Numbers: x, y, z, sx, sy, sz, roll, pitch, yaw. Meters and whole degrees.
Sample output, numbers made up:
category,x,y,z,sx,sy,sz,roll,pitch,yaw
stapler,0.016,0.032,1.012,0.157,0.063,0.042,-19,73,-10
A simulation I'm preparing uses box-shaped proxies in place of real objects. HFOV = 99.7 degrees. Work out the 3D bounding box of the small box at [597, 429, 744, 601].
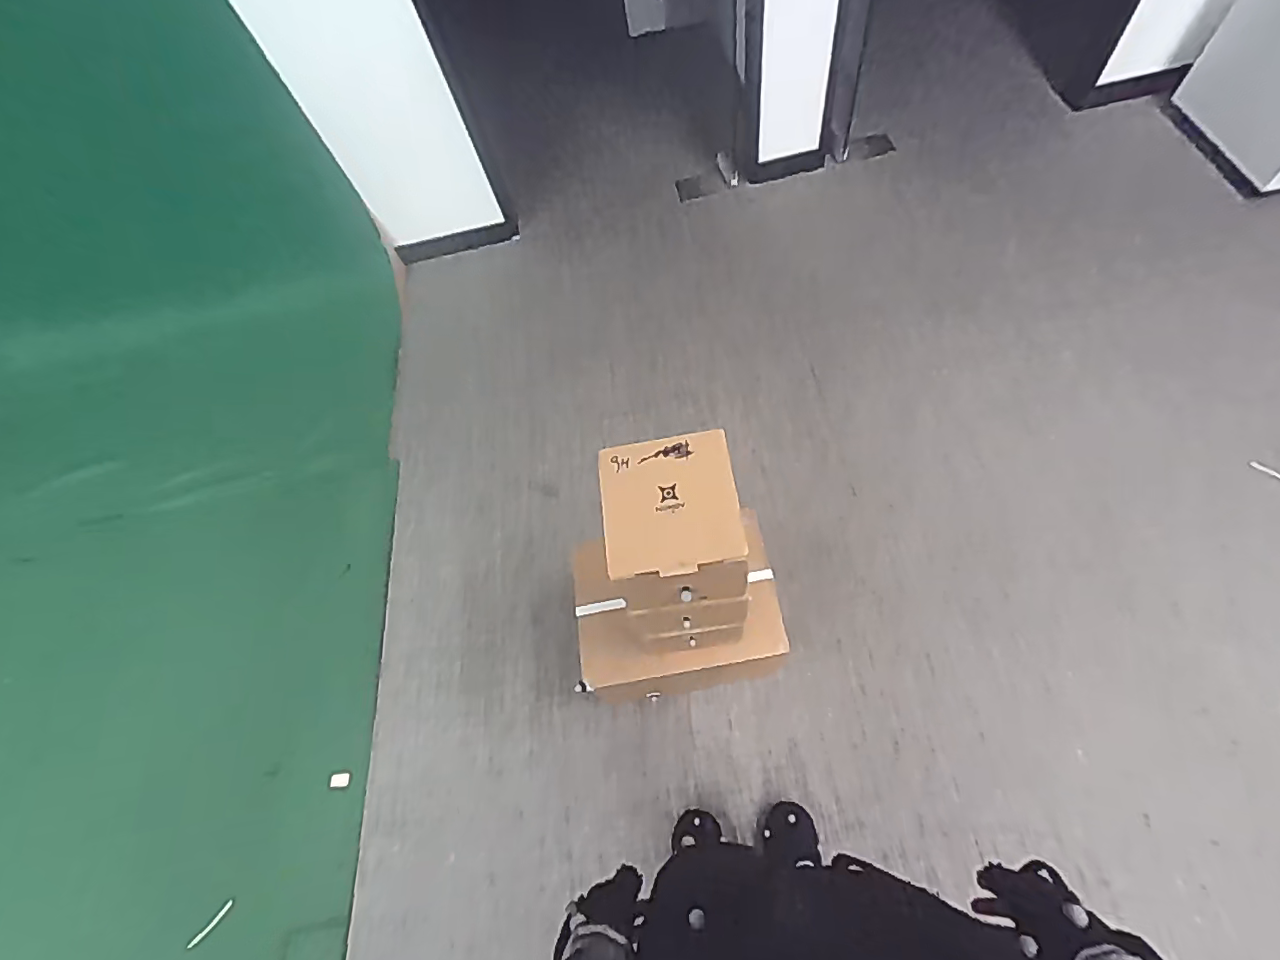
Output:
category,x,y,z,sx,sy,sz,roll,pitch,yaw
small box,0.045,0.058,0.725,0.168,0.176,0.179,-9,64,6

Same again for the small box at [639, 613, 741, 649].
category,x,y,z,sx,sy,sz,roll,pitch,yaw
small box,0.089,0.212,1.012,0.179,0.176,0.168,-10,64,4

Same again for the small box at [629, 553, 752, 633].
category,x,y,z,sx,sy,sz,roll,pitch,yaw
small box,0.071,0.138,0.866,0.179,0.176,0.168,-11,64,3
